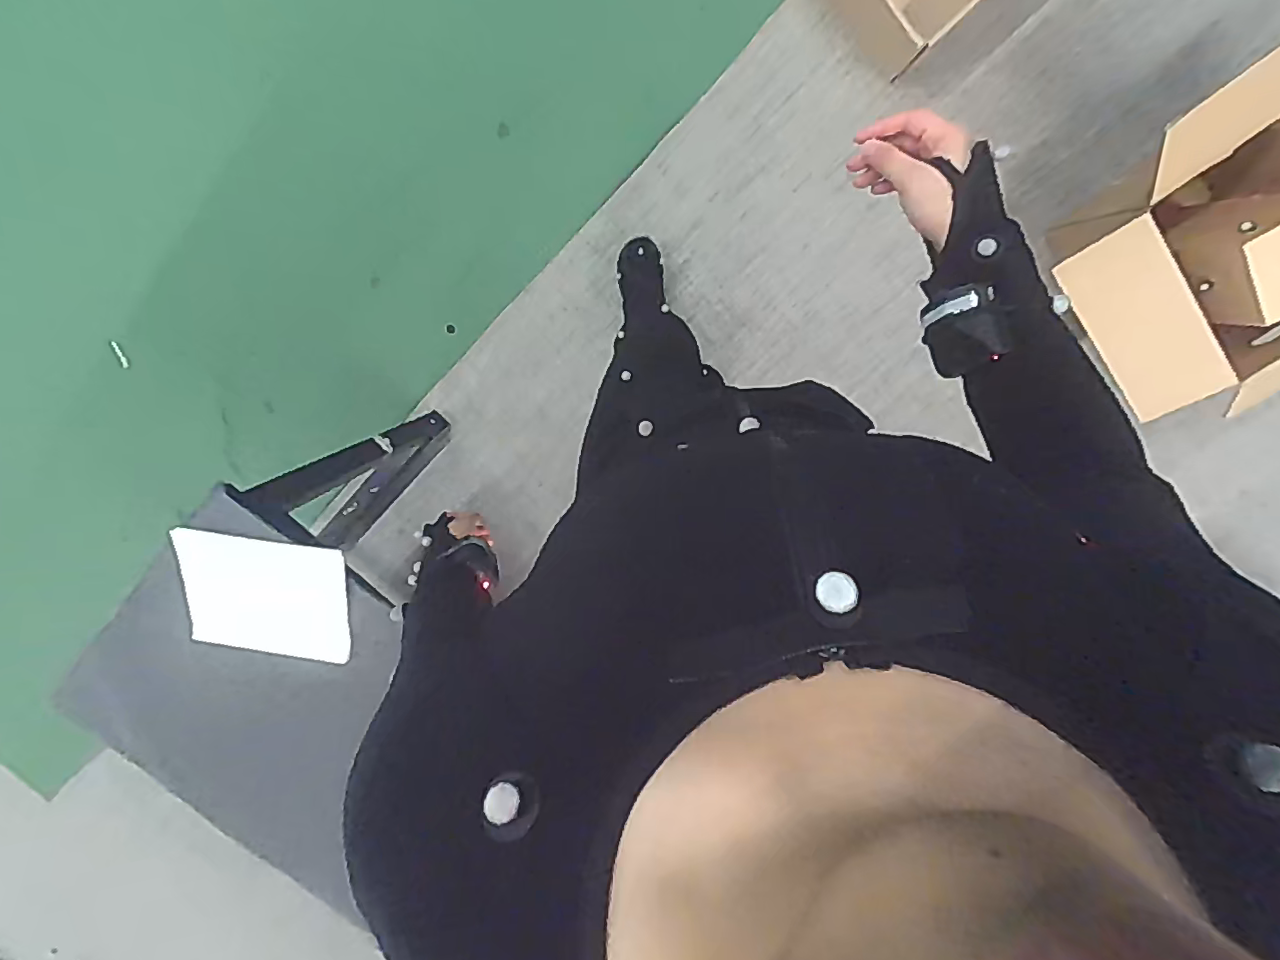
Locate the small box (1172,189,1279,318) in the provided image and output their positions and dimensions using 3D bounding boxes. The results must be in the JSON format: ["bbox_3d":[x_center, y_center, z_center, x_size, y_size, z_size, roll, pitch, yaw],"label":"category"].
[{"bbox_3d":[1.164,-0.425,1.015,0.179,0.176,0.168,-32,106,13],"label":"small box"}]
